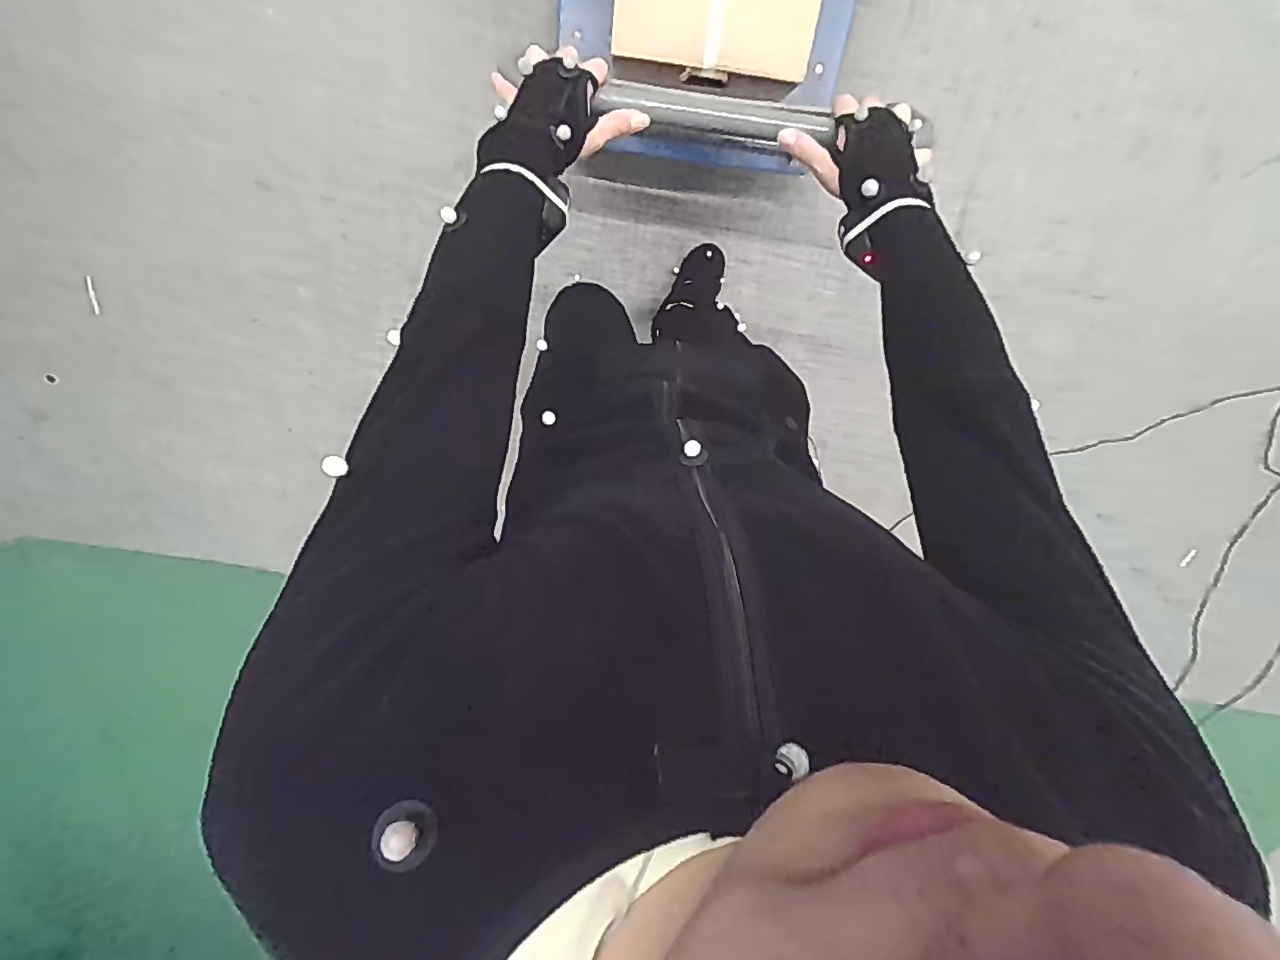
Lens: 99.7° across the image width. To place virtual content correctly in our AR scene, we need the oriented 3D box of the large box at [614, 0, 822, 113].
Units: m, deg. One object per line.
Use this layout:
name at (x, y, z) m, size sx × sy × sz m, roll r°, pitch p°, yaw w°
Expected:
large box at (0.137, -0.890, 0.905) m, size 0.320 × 0.320 × 0.408 m, roll 7°, pitch 115°, yaw -2°
